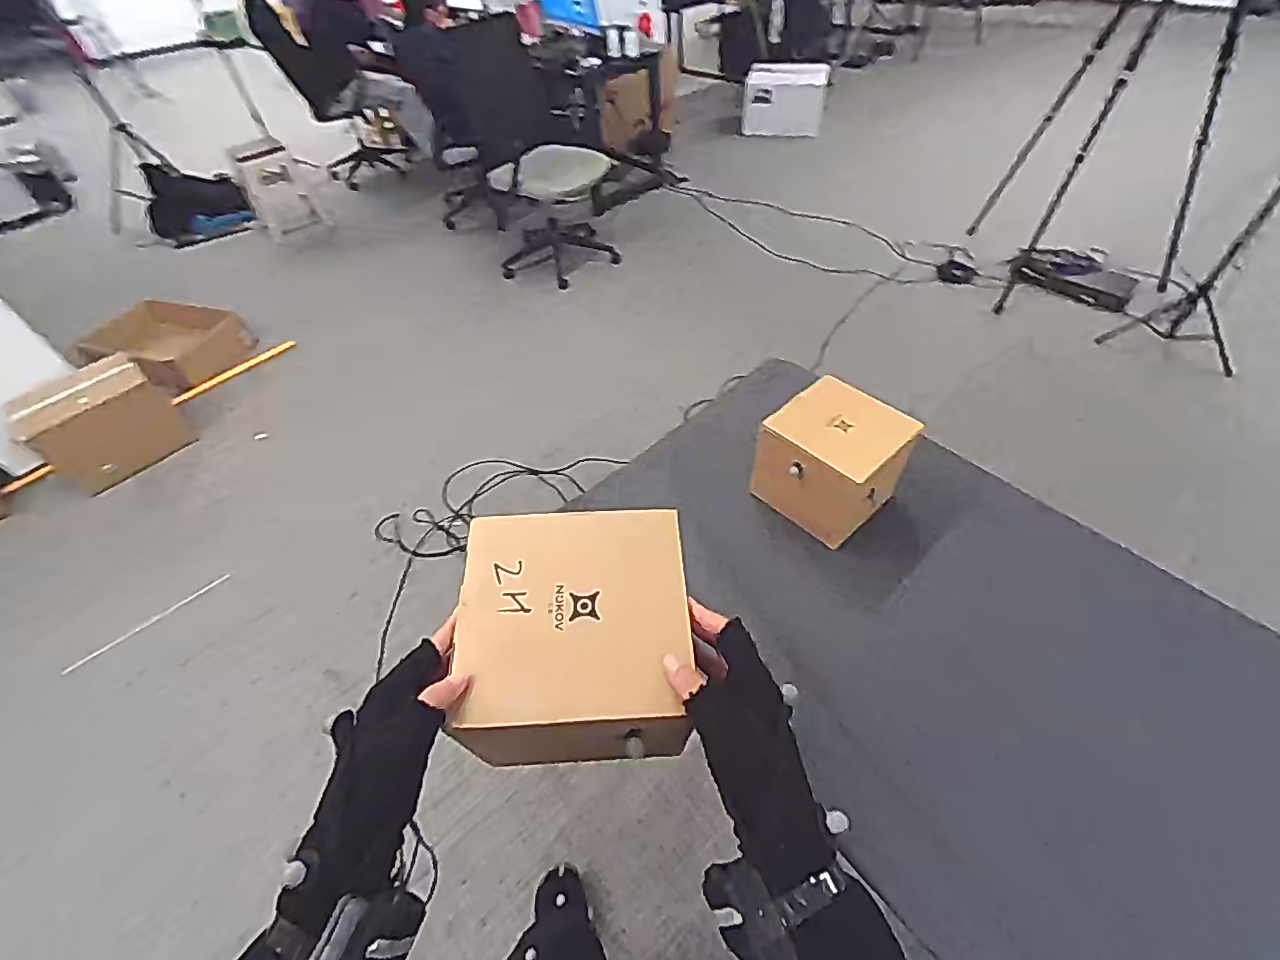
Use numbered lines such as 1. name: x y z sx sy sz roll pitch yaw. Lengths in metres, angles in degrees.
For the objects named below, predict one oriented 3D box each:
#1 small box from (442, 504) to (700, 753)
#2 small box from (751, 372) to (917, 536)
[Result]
1. small box: -0.050 0.134 0.474 0.179 0.176 0.168 -2 54 -2
2. small box: 0.297 -0.035 0.864 0.168 0.176 0.179 -36 55 -23
